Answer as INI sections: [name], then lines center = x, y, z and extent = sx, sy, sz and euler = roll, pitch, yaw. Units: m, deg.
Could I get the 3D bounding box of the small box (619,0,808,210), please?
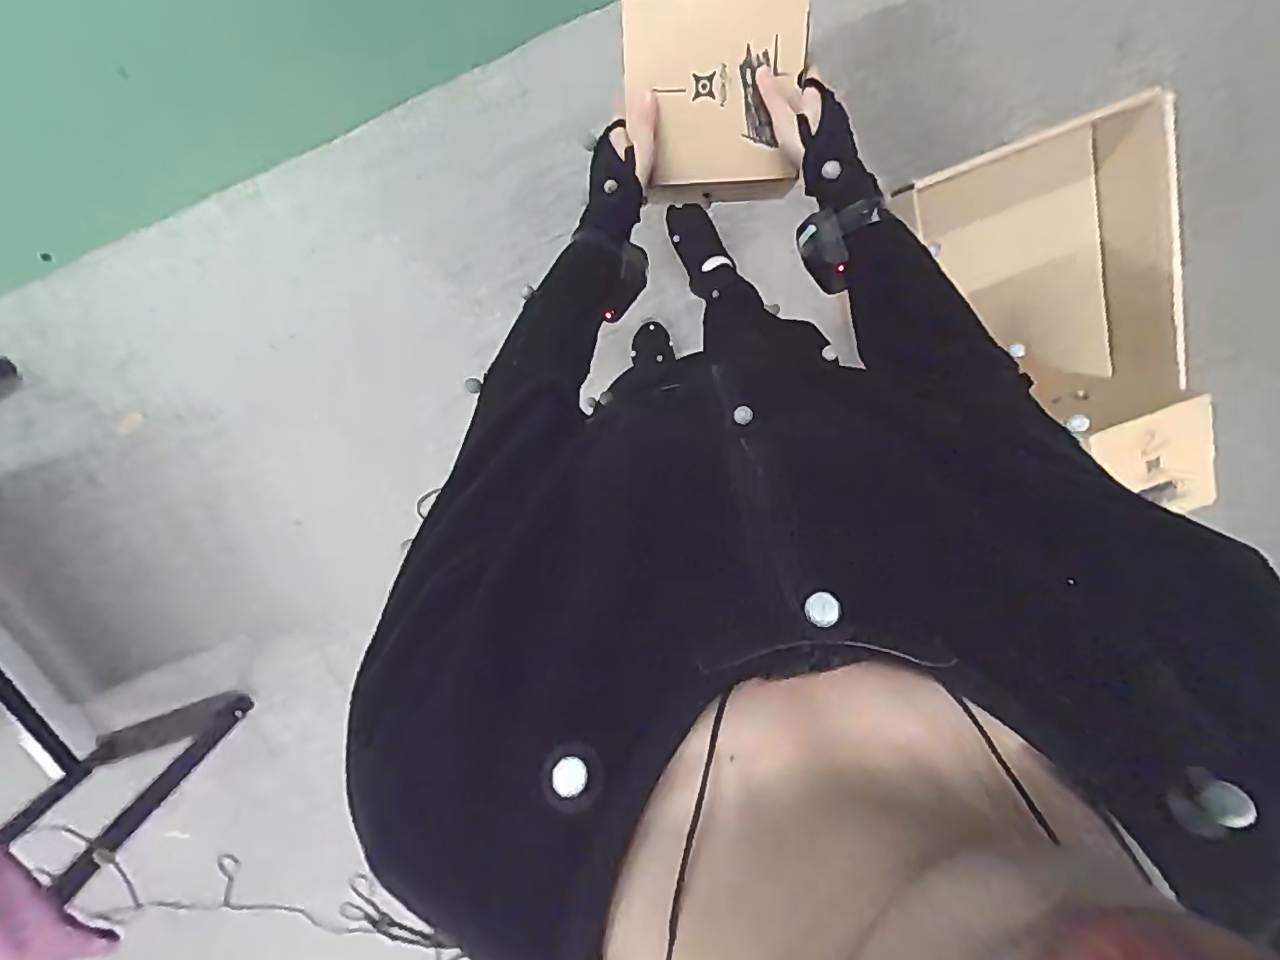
[small box]
center = 0.081, -0.401, 0.596
extent = 0.179, 0.176, 0.168
euler = 2, 110, 11
